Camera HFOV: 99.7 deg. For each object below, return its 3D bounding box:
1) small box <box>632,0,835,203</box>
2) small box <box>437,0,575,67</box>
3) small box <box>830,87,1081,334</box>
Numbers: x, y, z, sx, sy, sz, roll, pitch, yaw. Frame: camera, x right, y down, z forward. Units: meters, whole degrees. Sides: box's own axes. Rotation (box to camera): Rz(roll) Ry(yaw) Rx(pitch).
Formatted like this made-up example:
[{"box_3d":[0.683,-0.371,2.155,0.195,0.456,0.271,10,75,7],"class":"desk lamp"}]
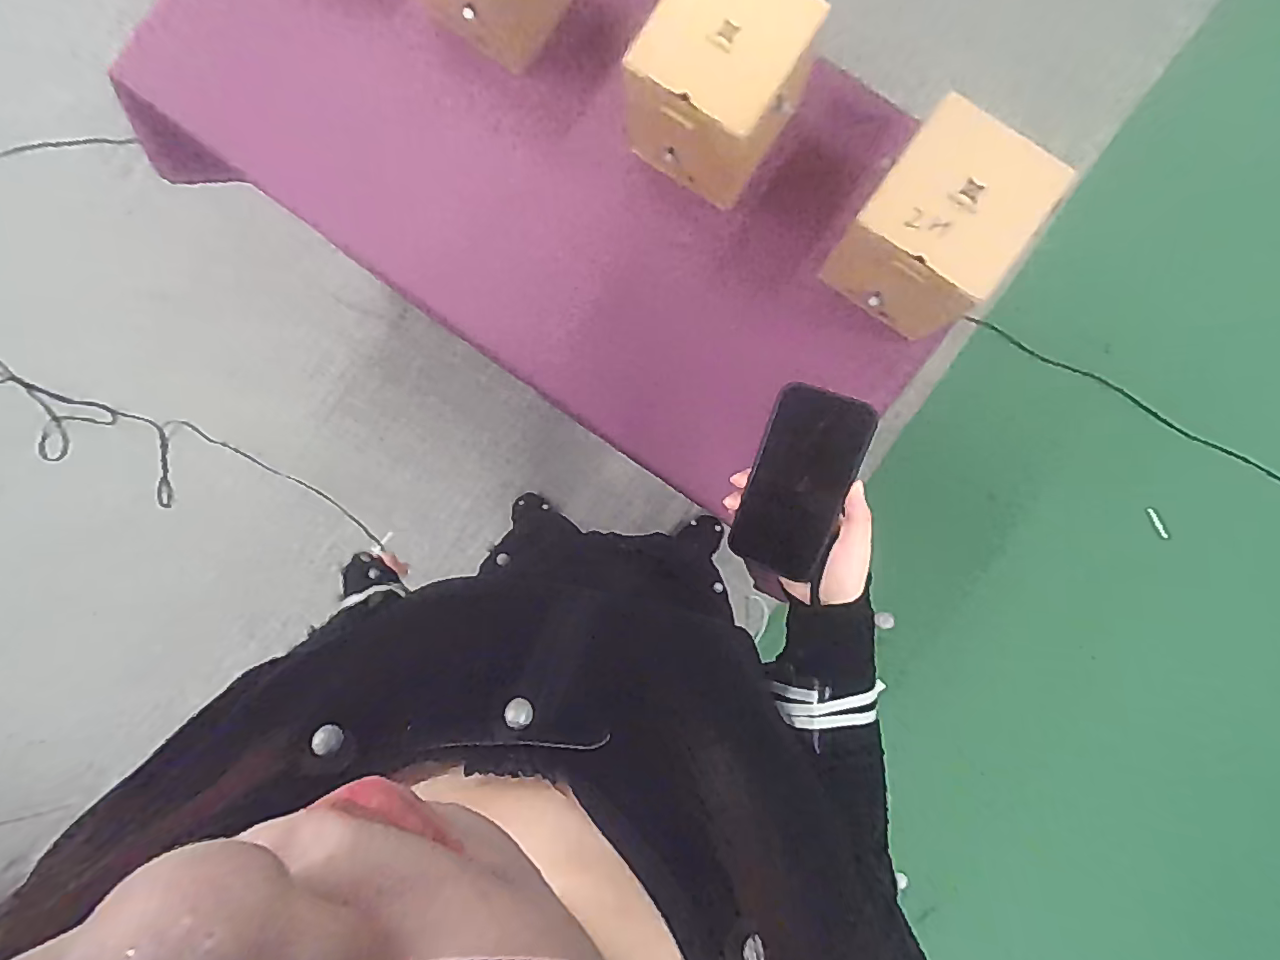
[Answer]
[{"box_3d":[0.105,-0.497,0.678,0.168,0.176,0.179,34,93,2],"class":"small box"},{"box_3d":[-0.184,-0.693,0.690,0.168,0.176,0.179,36,92,1],"class":"small box"},{"box_3d":[0.363,-0.310,0.663,0.168,0.176,0.179,36,93,3],"class":"small box"}]
